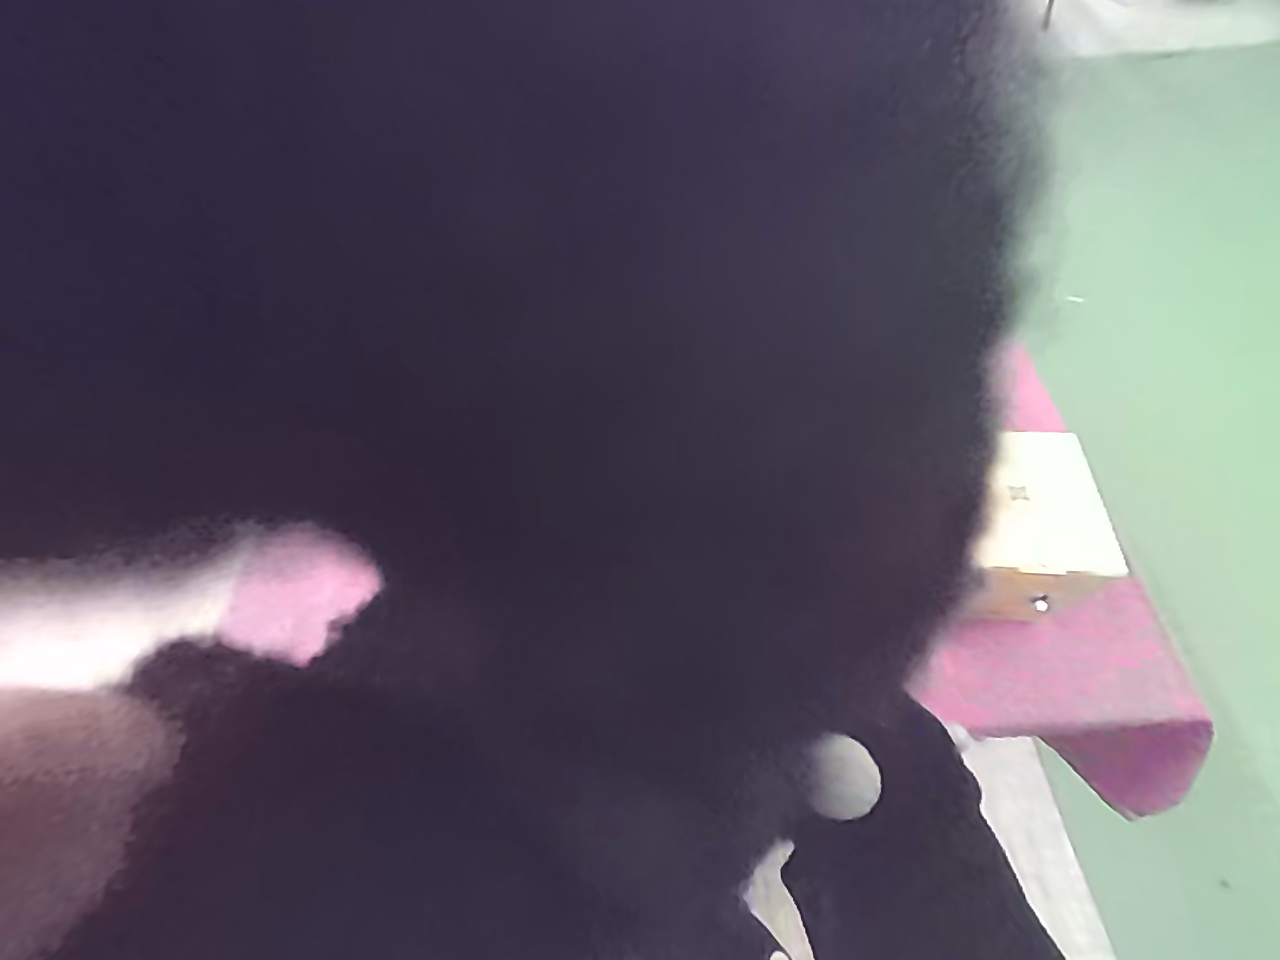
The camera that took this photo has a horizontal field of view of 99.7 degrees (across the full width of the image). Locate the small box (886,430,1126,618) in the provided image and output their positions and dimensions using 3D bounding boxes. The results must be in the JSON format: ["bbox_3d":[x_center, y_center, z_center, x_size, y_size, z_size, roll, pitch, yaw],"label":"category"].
[{"bbox_3d":[0.418,0.059,0.657,0.168,0.176,0.179,2,59,5],"label":"small box"}]
